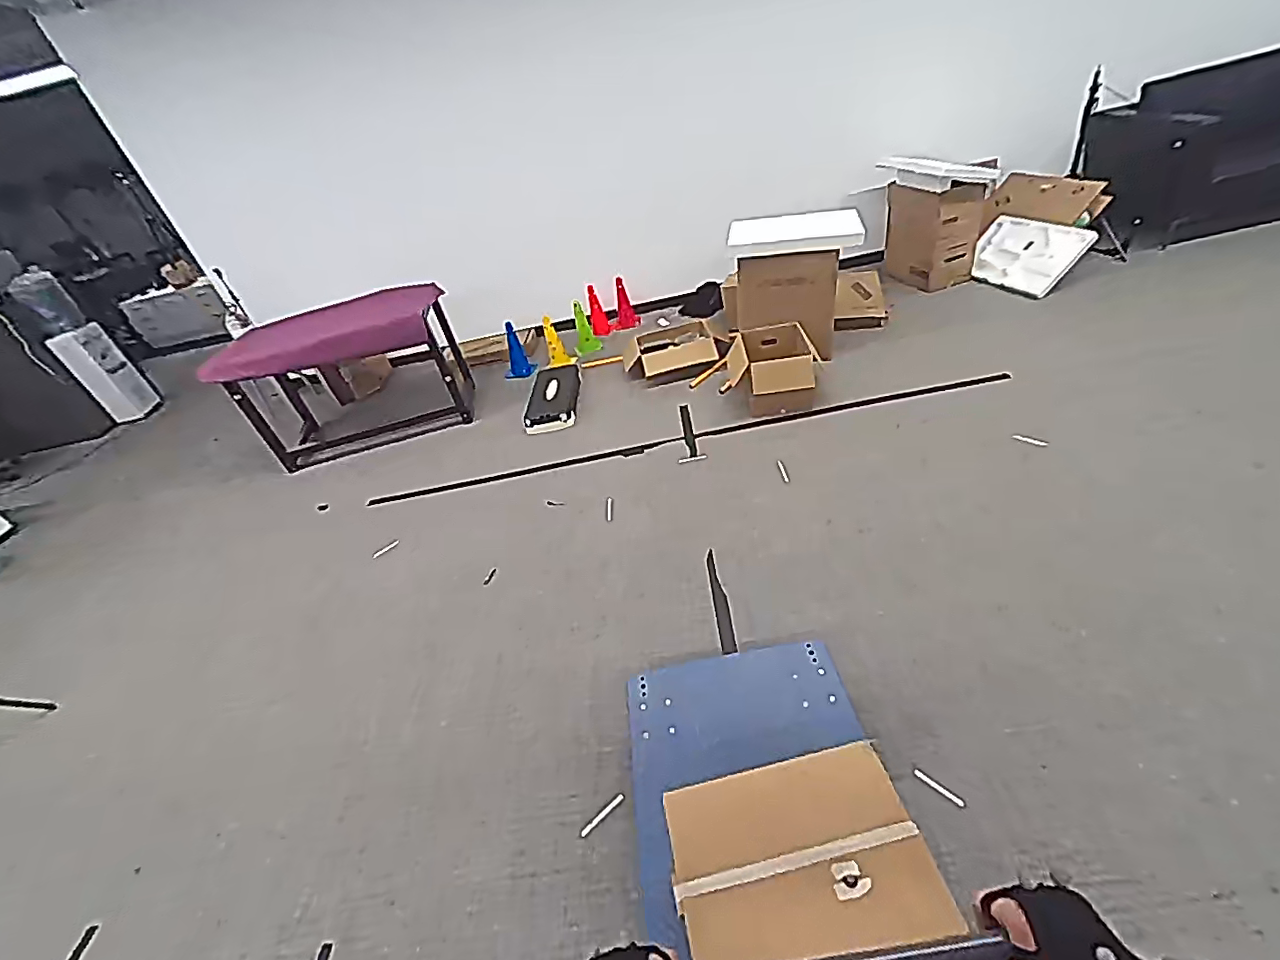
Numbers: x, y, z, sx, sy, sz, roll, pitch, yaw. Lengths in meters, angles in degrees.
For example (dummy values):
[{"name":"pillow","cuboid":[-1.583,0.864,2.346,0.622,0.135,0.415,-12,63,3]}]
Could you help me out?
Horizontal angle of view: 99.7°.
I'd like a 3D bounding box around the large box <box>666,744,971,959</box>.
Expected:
[{"name":"large box","cuboid":[0.289,0.751,0.979,0.408,0.320,0.320,-14,37,-2]}]
